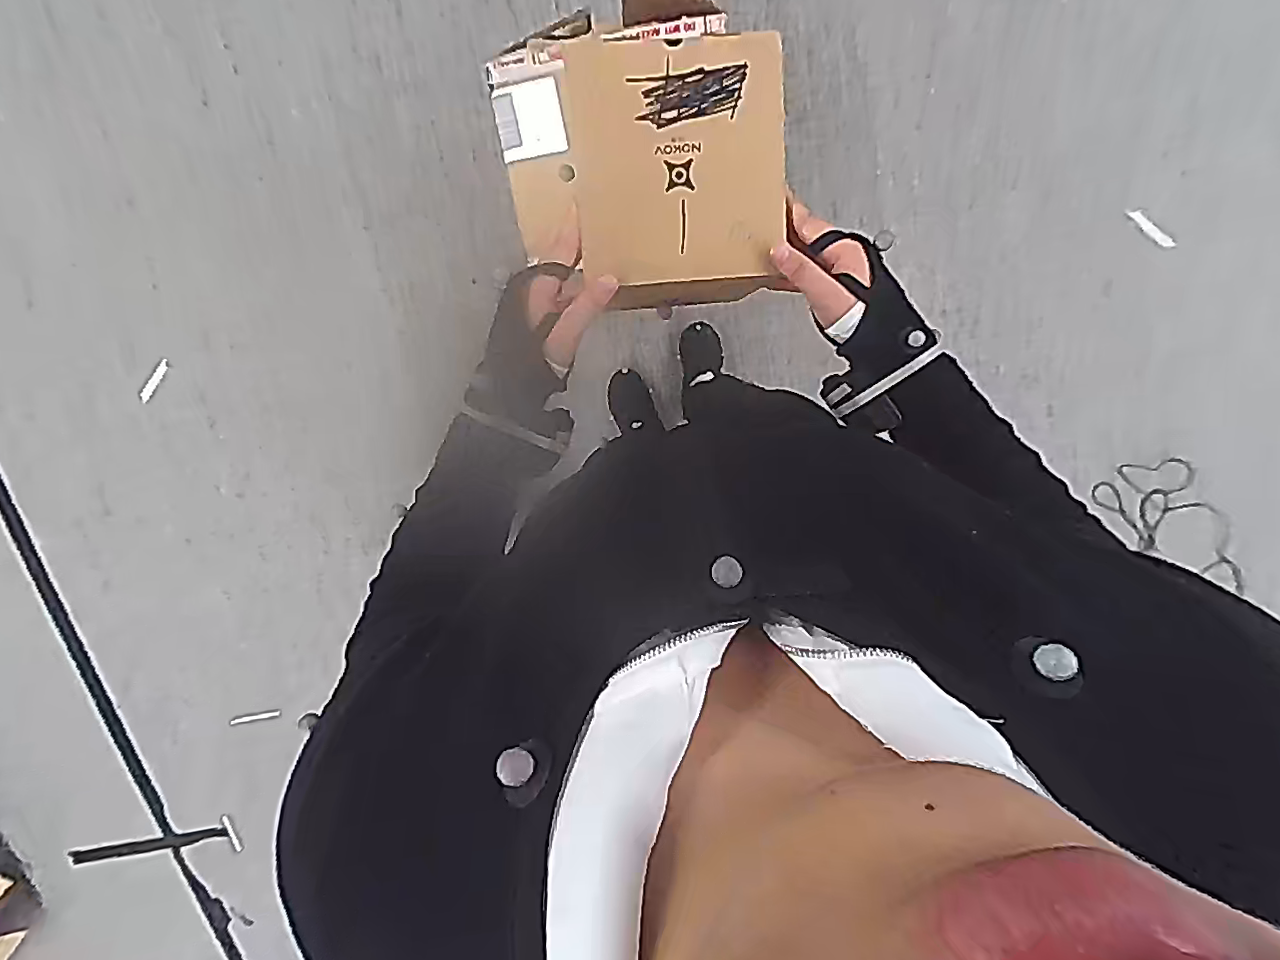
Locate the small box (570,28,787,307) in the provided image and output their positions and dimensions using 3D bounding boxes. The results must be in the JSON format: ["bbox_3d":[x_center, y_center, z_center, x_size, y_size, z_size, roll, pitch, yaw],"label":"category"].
[{"bbox_3d":[0.027,-0.264,0.497,0.168,0.176,0.179,-5,101,-3],"label":"small box"}]
